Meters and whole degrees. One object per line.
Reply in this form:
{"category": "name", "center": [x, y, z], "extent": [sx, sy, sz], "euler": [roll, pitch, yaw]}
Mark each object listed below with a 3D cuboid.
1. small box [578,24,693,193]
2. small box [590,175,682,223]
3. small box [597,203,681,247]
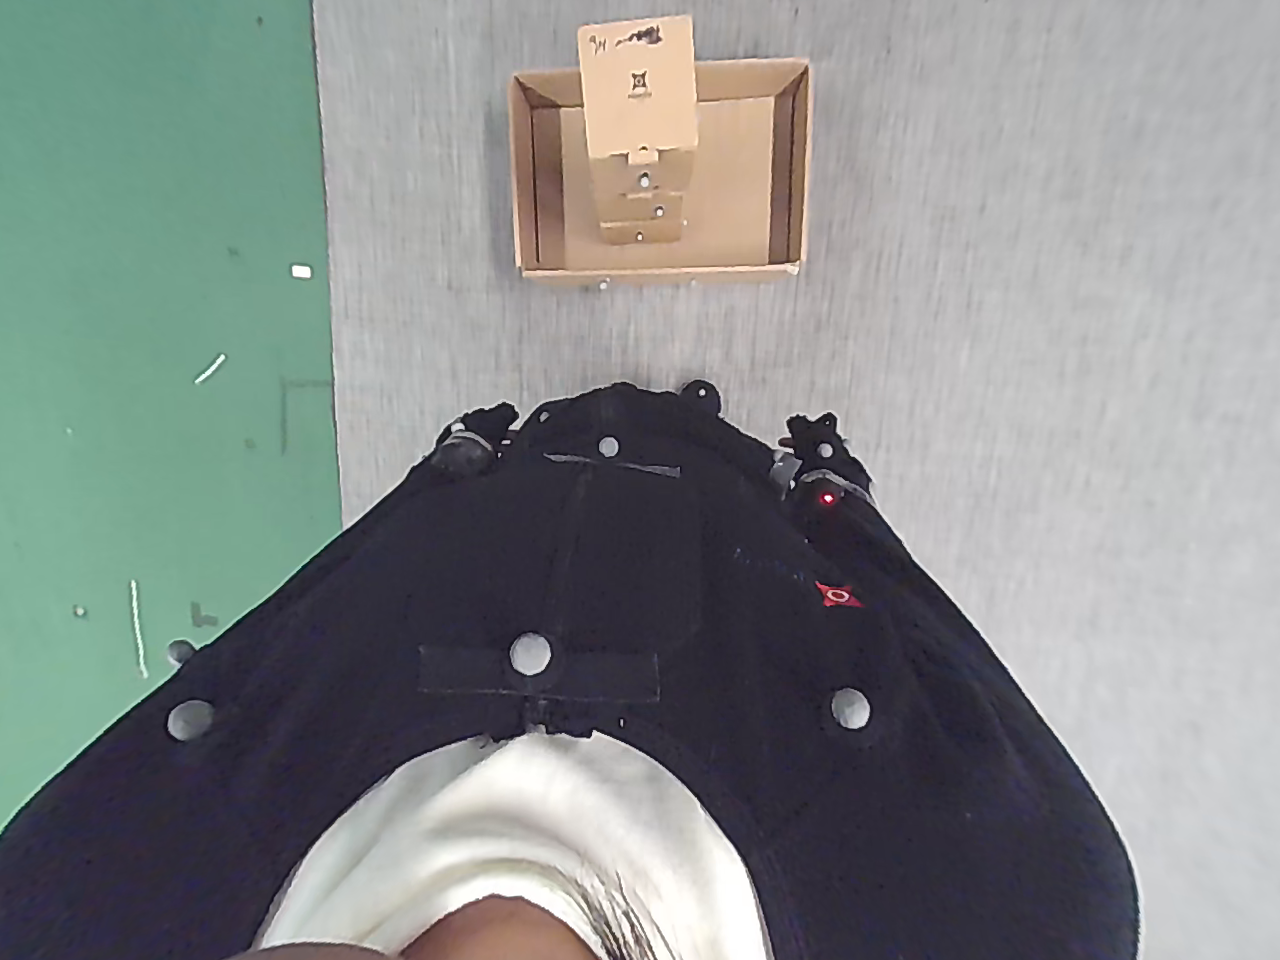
{"category": "small box", "center": [-0.002, -0.573, 0.862], "extent": [0.168, 0.176, 0.179], "euler": [-2, 101, 2]}
{"category": "small box", "center": [-0.004, -0.598, 1.024], "extent": [0.168, 0.176, 0.179], "euler": [0, 99, 1]}
{"category": "small box", "center": [0.000, -0.618, 1.183], "extent": [0.179, 0.176, 0.168], "euler": [-1, 100, 4]}
